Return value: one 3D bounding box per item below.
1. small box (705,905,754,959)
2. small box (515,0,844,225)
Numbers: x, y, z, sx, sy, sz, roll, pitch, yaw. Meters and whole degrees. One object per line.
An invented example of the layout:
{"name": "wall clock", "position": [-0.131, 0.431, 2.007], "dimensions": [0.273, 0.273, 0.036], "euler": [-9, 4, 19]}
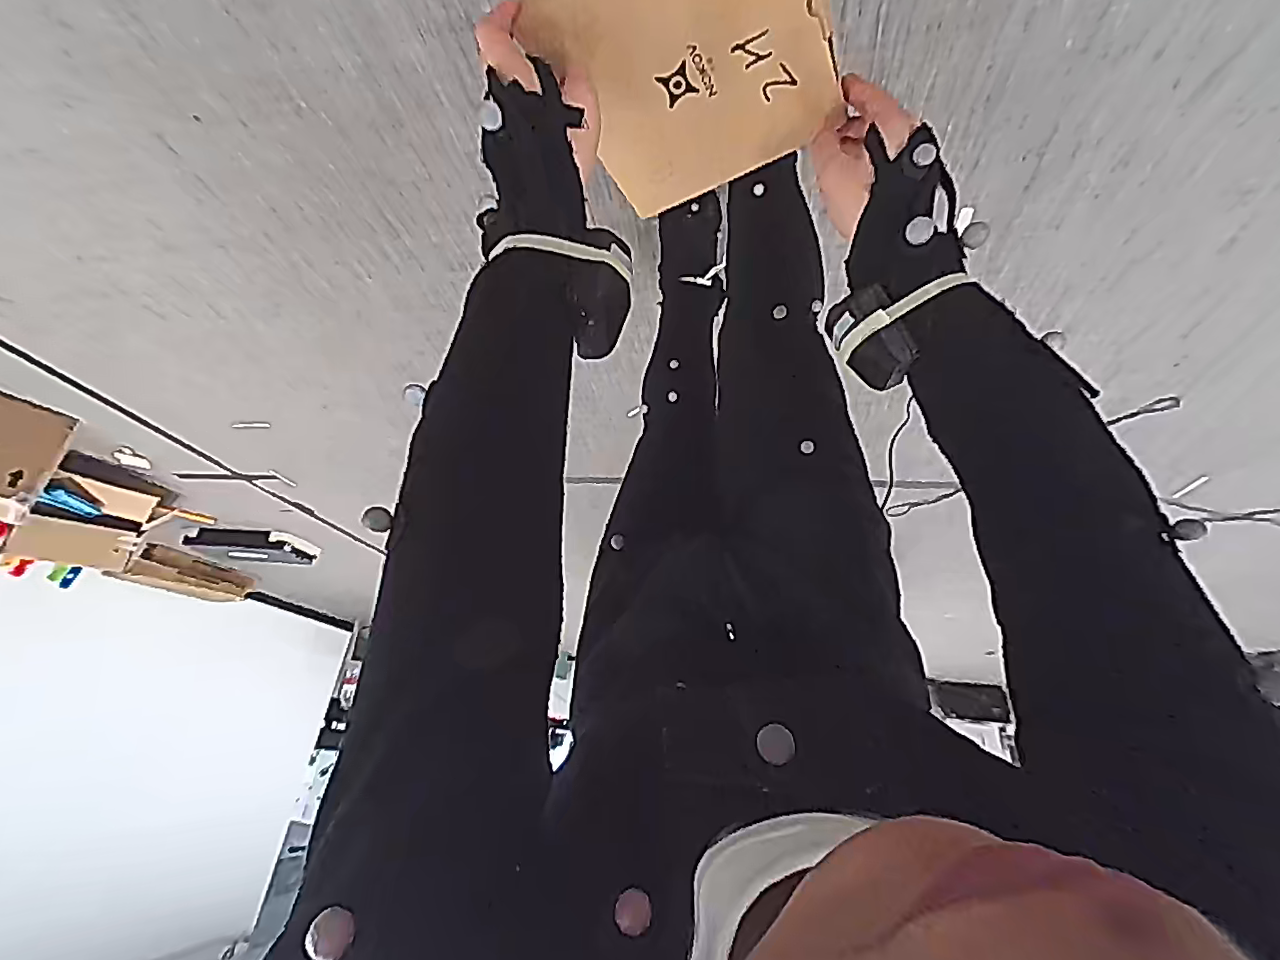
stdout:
{"name": "small box", "position": [0.338, 1.737, 2.038], "dimensions": [0.179, 0.176, 0.168], "euler": [-1, 153, 13]}
{"name": "small box", "position": [0.038, -0.337, 0.398], "dimensions": [0.179, 0.176, 0.168], "euler": [-11, 153, 29]}
